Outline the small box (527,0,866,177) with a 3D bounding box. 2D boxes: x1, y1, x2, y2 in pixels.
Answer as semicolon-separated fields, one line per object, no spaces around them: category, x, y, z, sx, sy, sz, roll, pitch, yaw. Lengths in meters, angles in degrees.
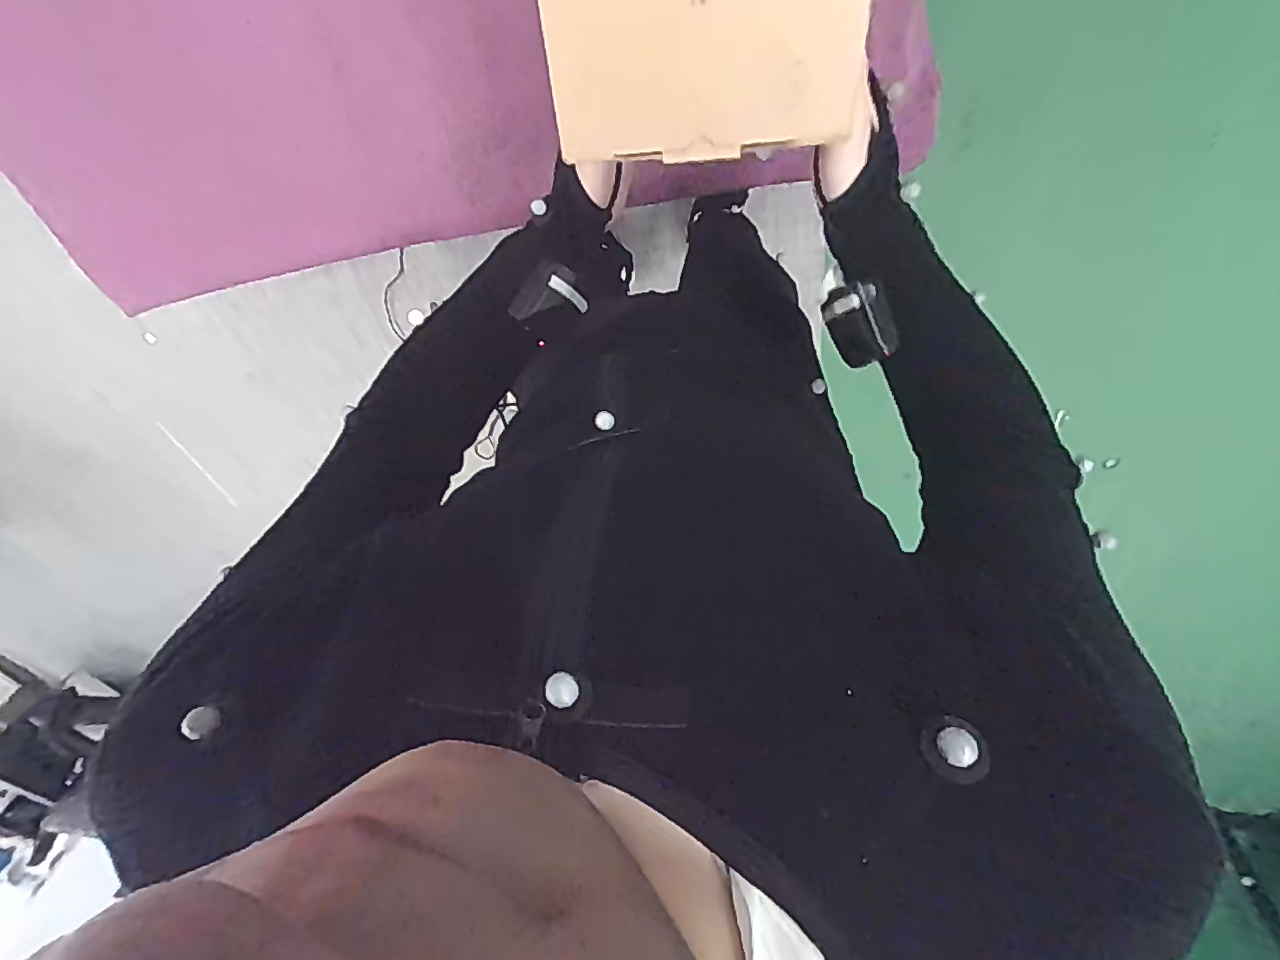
small box;0.038;-0.291;0.307;0.168;0.176;0.179;3;129;11
